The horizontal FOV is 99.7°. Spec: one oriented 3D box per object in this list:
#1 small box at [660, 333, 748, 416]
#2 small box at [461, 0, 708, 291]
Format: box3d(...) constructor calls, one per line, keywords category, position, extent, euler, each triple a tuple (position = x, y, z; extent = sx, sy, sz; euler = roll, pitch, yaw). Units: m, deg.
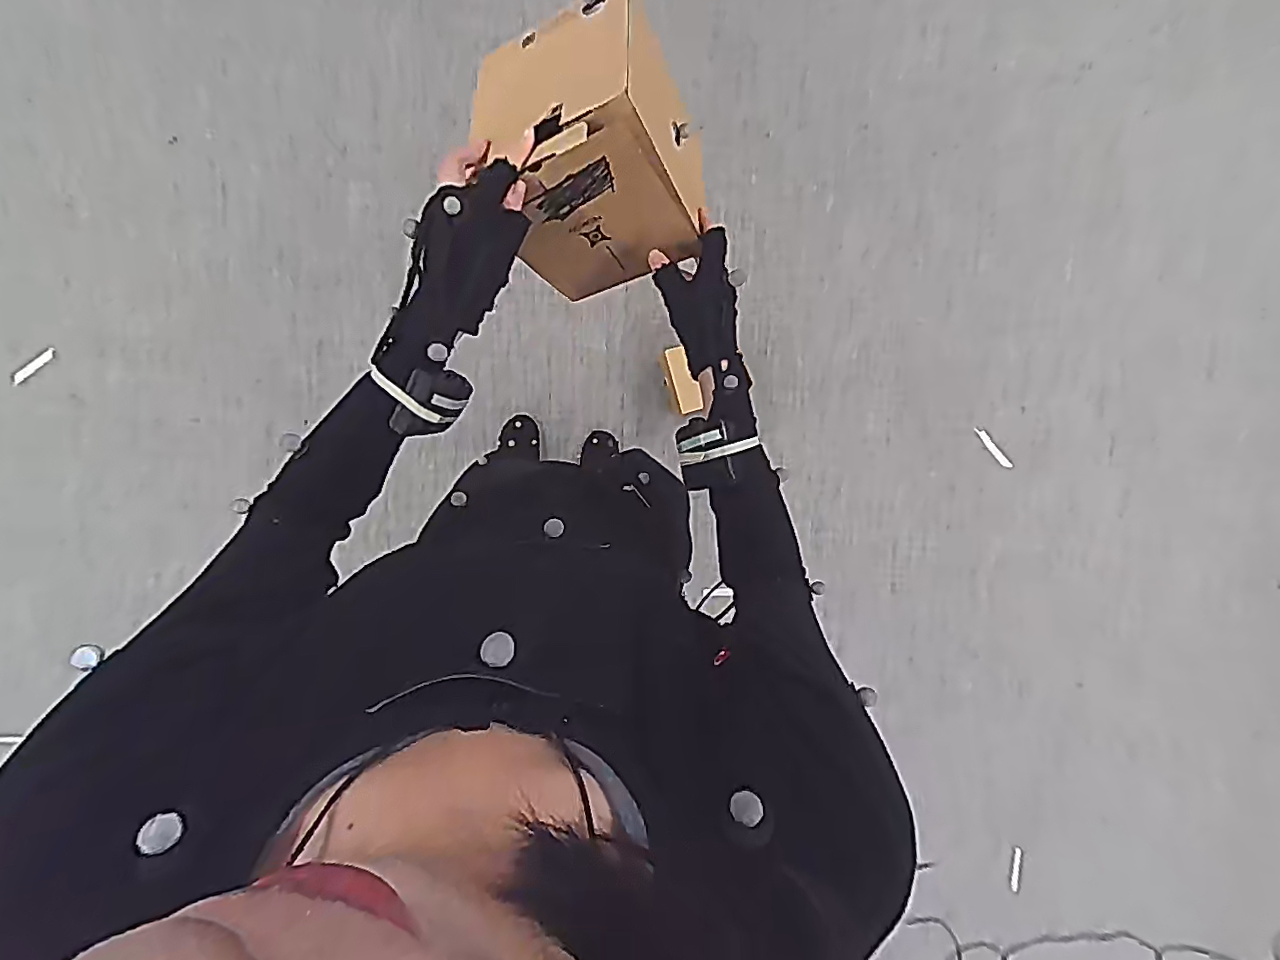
box3d(category="small box", position=(0.162, -0.270, 1.413), extent=(0.179, 0.176, 0.168), euler=(-17, 95, -1))
box3d(category="small box", position=(-0.044, -0.325, 0.521), extent=(0.168, 0.179, 0.176), euler=(-11, 66, 25))
